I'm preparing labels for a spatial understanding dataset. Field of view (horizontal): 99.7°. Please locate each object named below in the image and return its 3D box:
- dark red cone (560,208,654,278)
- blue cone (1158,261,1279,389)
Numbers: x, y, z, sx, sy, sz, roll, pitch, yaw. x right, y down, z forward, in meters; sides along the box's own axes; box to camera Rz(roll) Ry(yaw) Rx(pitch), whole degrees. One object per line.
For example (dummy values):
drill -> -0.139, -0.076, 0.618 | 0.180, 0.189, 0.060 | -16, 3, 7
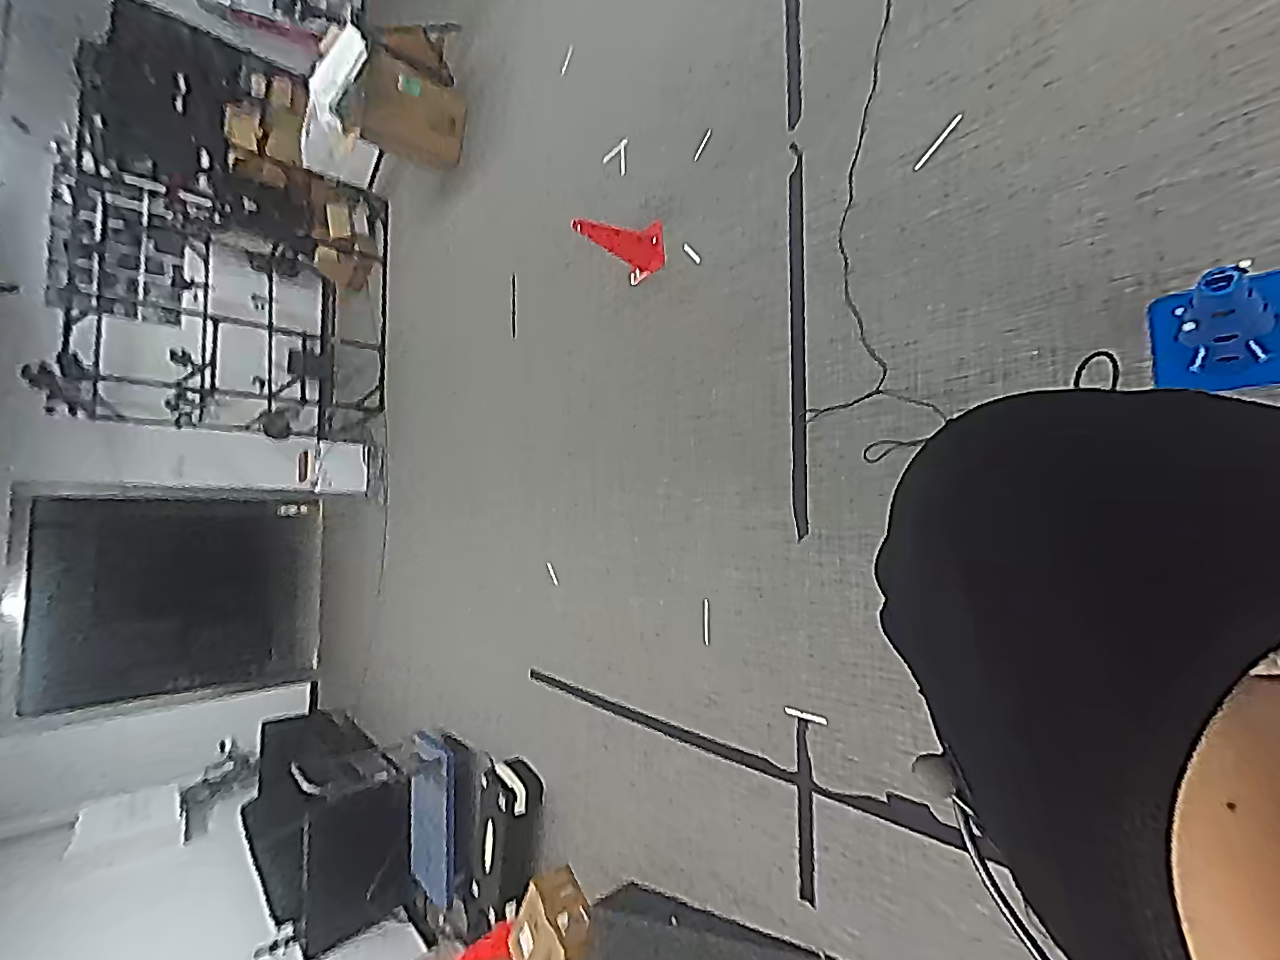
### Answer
dark red cone -> -0.134, -0.947, 2.073 | 0.201, 0.394, 0.202 | -15, 77, 47
blue cone -> 0.931, -0.267, 0.848 | 0.192, 0.380, 0.193 | -3, 86, 48
